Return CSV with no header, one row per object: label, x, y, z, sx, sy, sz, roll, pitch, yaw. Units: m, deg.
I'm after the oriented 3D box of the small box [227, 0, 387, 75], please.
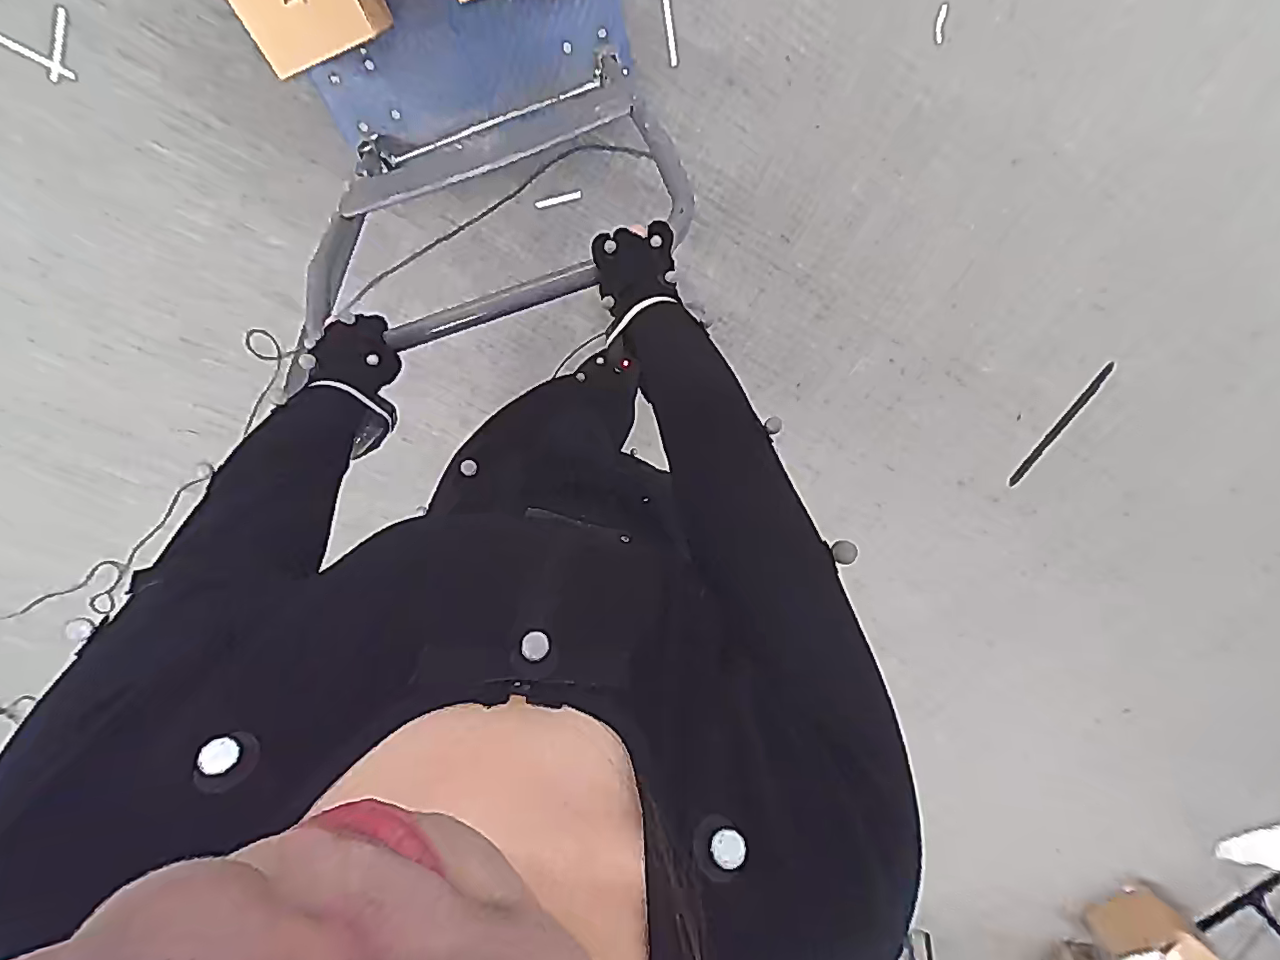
small box,-0.524,-0.765,0.837,0.179,0.176,0.168,-20,135,6
